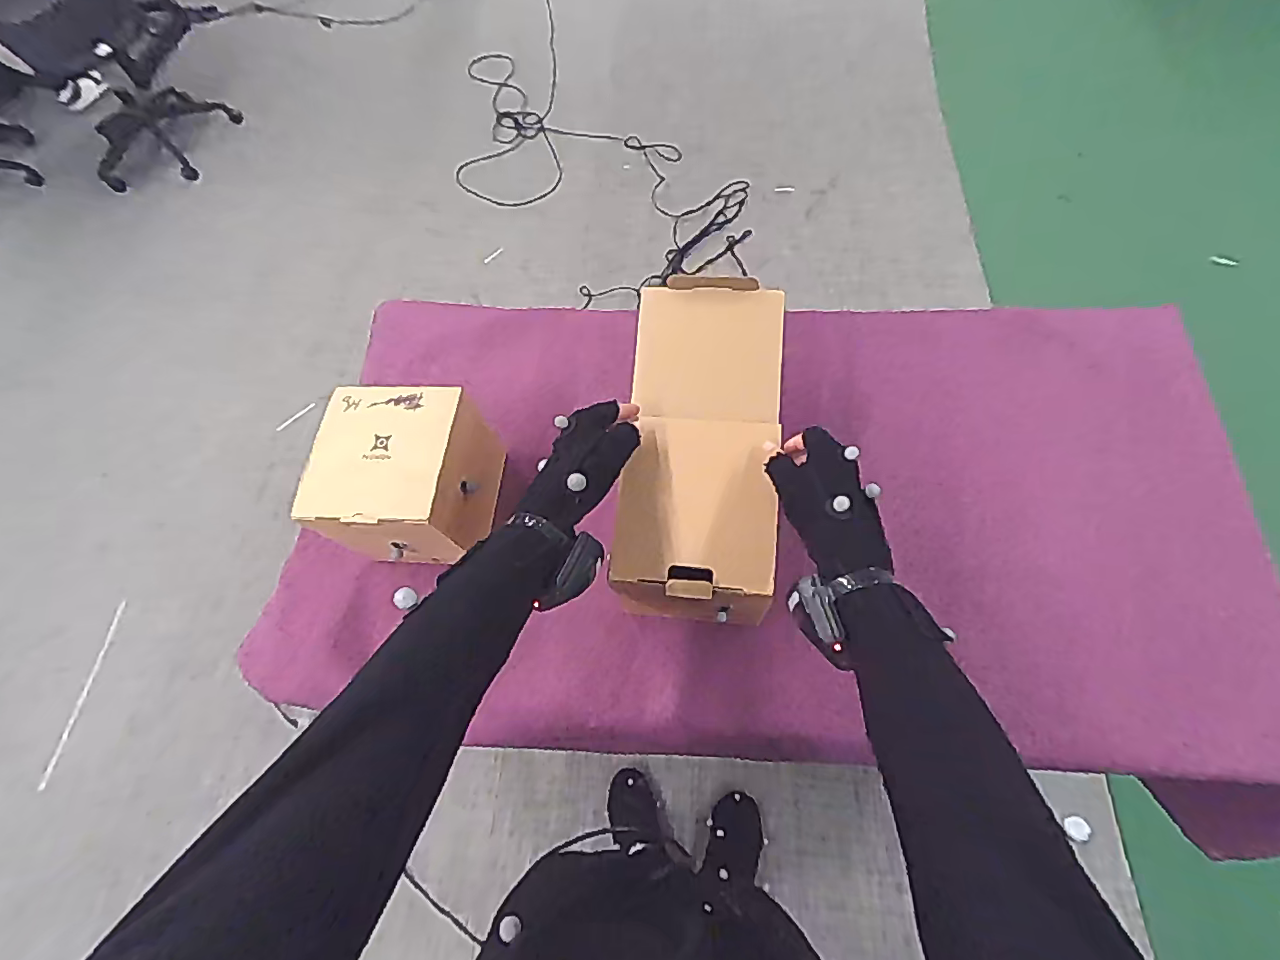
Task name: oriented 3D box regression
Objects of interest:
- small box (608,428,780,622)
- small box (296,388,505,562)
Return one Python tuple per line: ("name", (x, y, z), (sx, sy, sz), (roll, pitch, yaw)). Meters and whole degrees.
("small box", (0.067, 0.060, 0.628), (0.168, 0.176, 0.179), (4, 65, 8))
("small box", (-0.287, 0.001, 0.694), (0.168, 0.176, 0.179), (2, 66, 7))
